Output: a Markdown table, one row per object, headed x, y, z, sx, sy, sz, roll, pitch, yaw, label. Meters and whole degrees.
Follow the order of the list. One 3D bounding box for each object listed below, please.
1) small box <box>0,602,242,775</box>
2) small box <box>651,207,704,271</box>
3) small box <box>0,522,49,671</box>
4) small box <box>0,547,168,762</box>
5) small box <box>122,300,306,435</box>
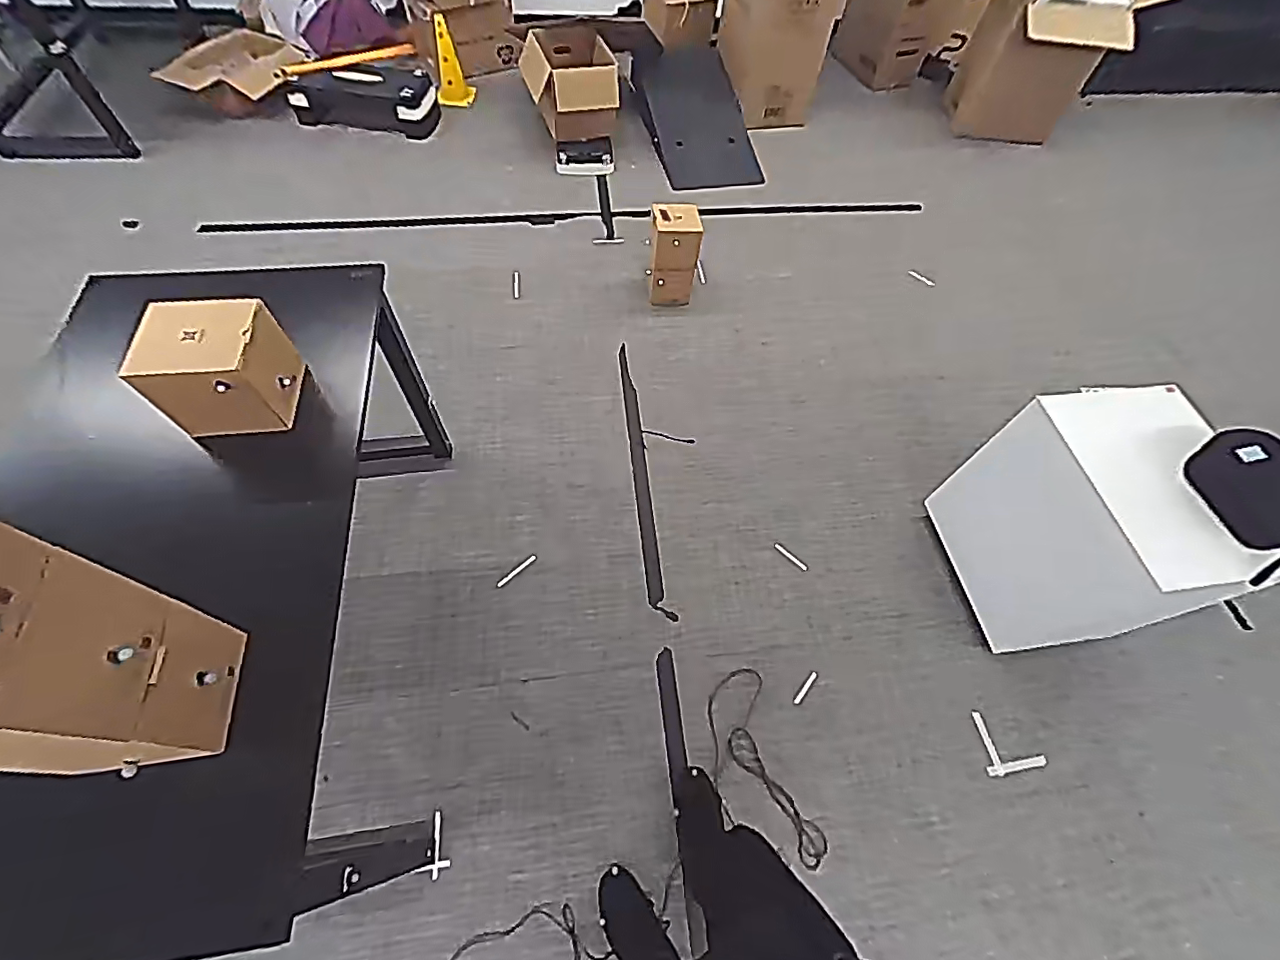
| x | y | z | sx | sy | sz | roll | pitch | yaw | label |
| --- | --- | --- | --- | --- | --- | --- | --- | --- | --- |
| -0.651 | 0.267 | 0.684 | 0.179 | 0.176 | 0.168 | -6 | 60 | -8 | small box |
| 0.138 | -0.931 | 2.097 | 0.179 | 0.176 | 0.168 | -4 | 60 | -8 | small box |
| -0.634 | 0.099 | 0.403 | 0.179 | 0.176 | 0.168 | -6 | 61 | -8 | small box |
| -0.644 | 0.183 | 0.542 | 0.179 | 0.176 | 0.168 | -6 | 61 | -7 | small box |
| -0.730 | -0.192 | 0.951 | 0.179 | 0.176 | 0.168 | -5 | 60 | -7 | small box |
